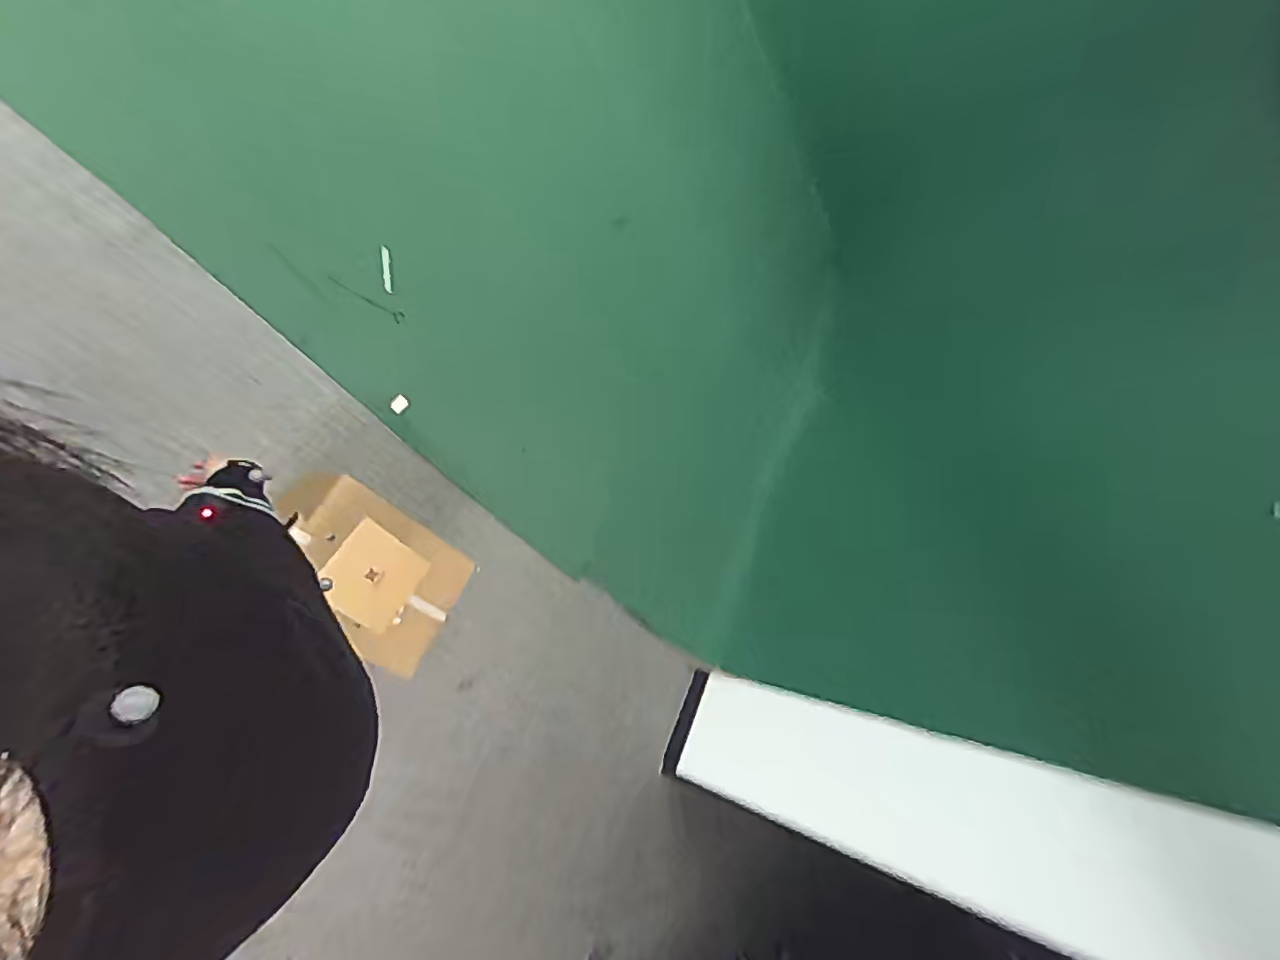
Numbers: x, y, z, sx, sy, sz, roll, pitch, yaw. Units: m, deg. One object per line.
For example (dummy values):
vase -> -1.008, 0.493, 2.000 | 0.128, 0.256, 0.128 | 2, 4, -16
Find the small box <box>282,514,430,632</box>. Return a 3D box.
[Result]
small box -> -0.577, 0.181, 1.096 | 0.179, 0.176, 0.168 | 52, 55, -36

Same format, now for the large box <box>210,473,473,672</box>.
large box -> -0.708, 0.219, 1.317 | 0.408, 0.320, 0.320 | 49, 56, -38
